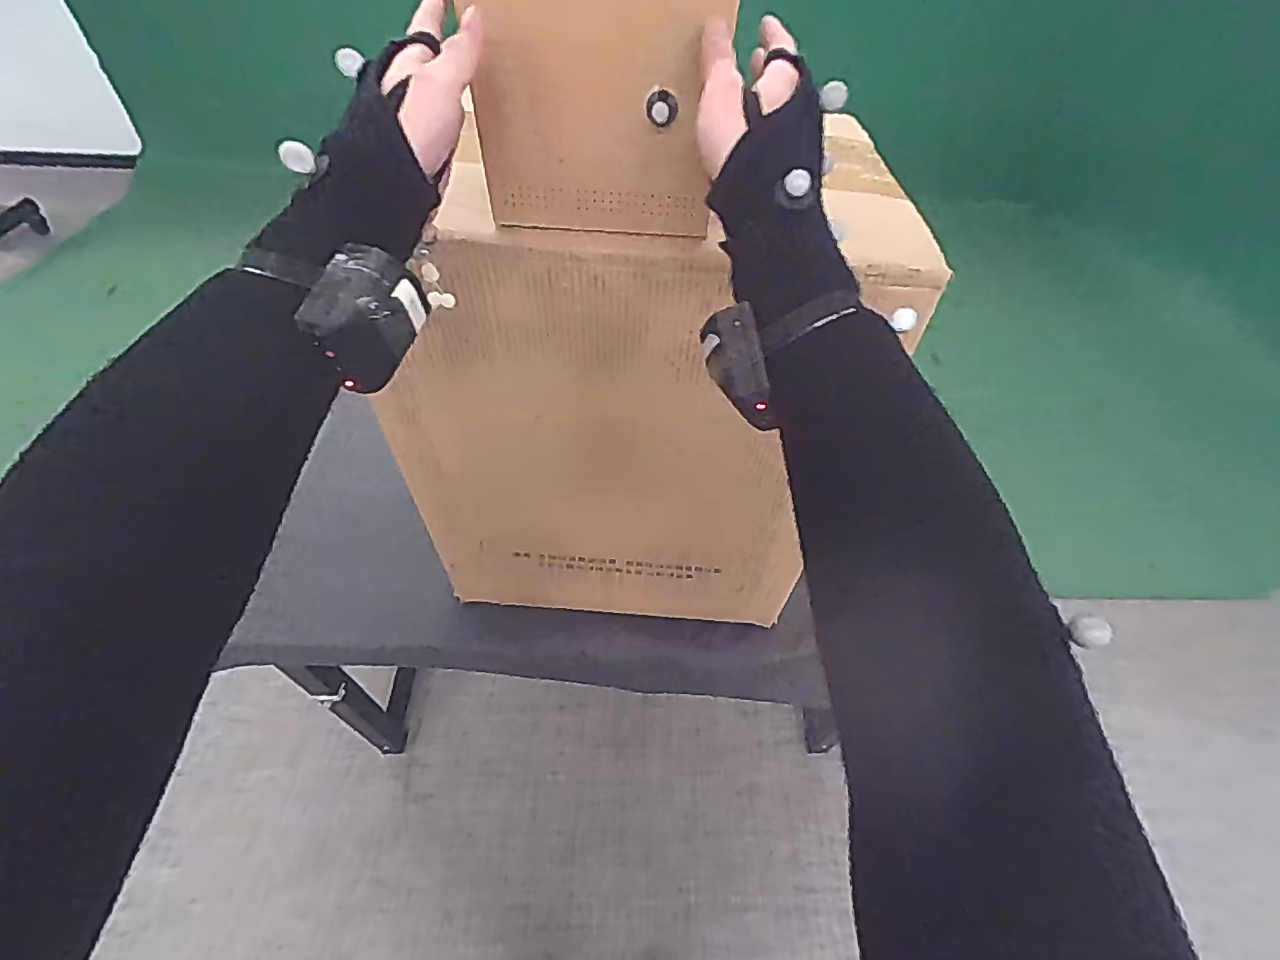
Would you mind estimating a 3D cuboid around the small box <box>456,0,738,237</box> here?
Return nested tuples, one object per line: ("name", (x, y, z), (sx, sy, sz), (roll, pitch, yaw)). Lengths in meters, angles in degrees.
("small box", (-0.025, -0.314, 0.432), (0.179, 0.176, 0.168), (3, 51, 1))
